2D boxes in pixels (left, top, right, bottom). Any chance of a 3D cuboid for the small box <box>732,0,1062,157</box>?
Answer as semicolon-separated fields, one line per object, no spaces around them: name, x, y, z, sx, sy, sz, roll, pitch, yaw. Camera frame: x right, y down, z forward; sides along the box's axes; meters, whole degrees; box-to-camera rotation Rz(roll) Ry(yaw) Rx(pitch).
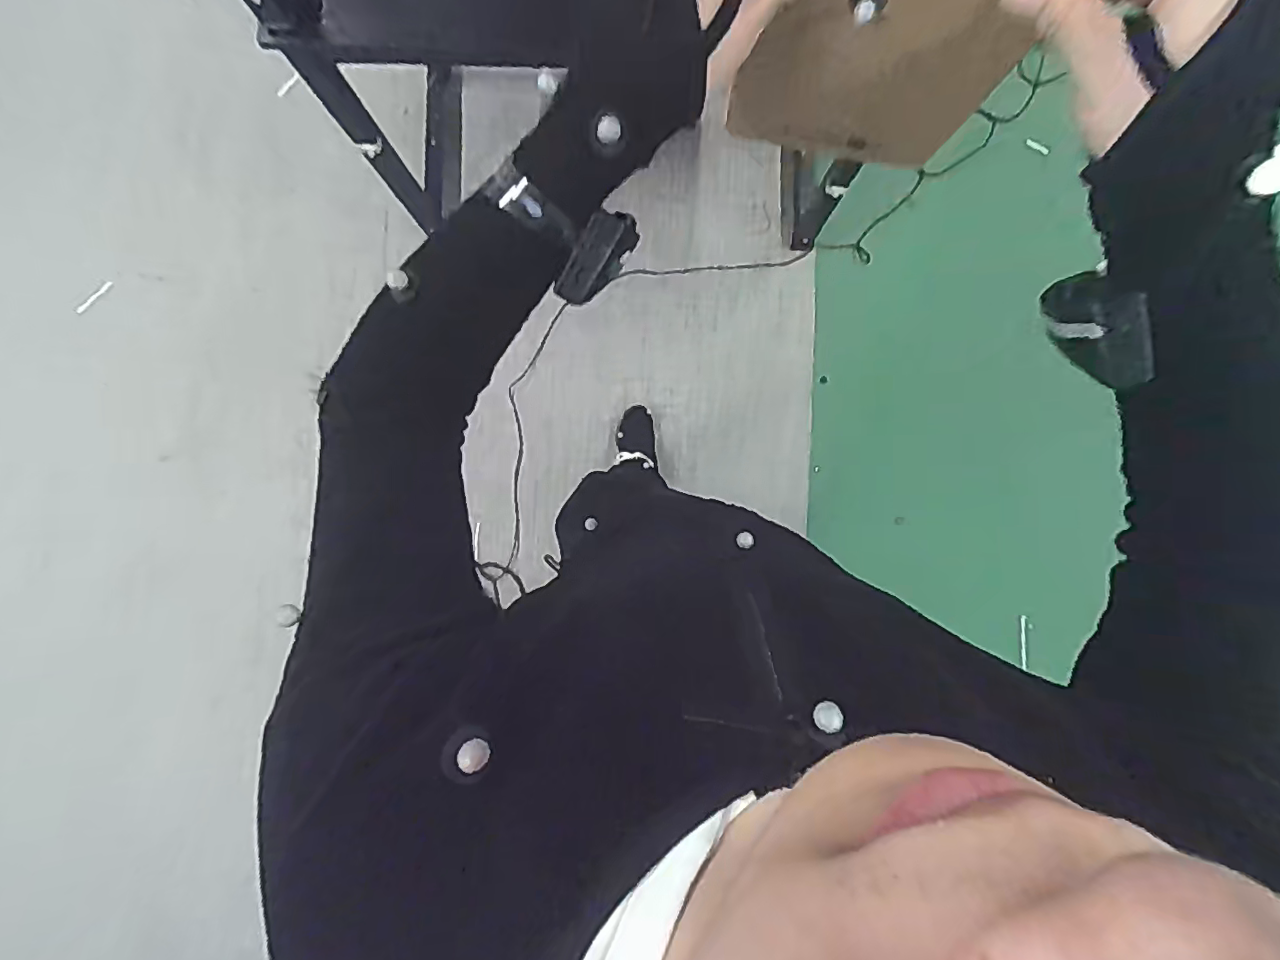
small box;0.161;-0.351;0.344;0.168;0.176;0.179;12;92;2
